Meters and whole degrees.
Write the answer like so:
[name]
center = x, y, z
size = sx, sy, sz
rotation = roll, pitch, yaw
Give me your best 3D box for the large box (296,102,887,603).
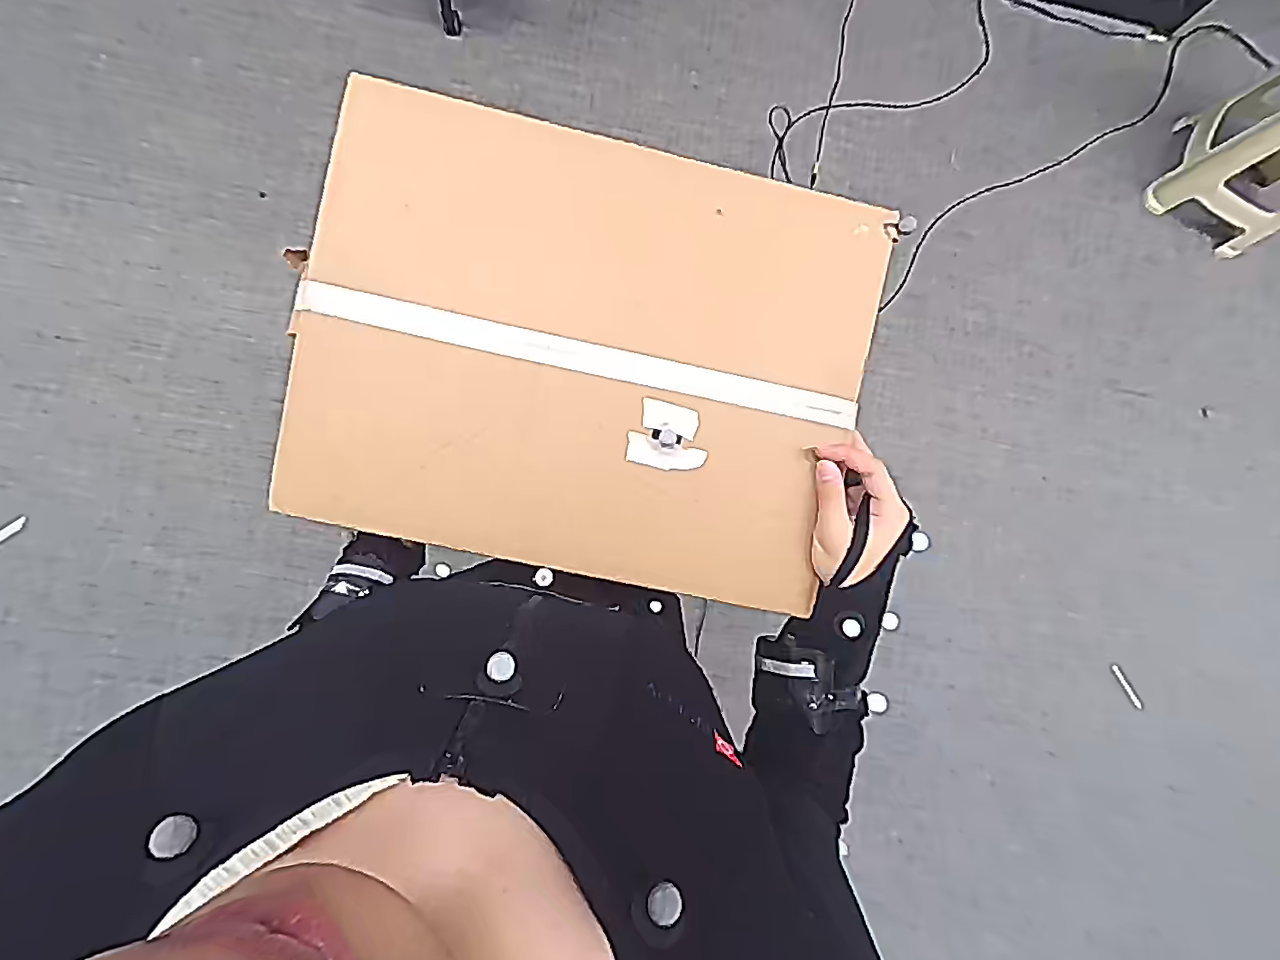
[large box]
center = -0.043, -0.092, 0.551
size = 0.408, 0.320, 0.320
rotation = 11, 92, -5
